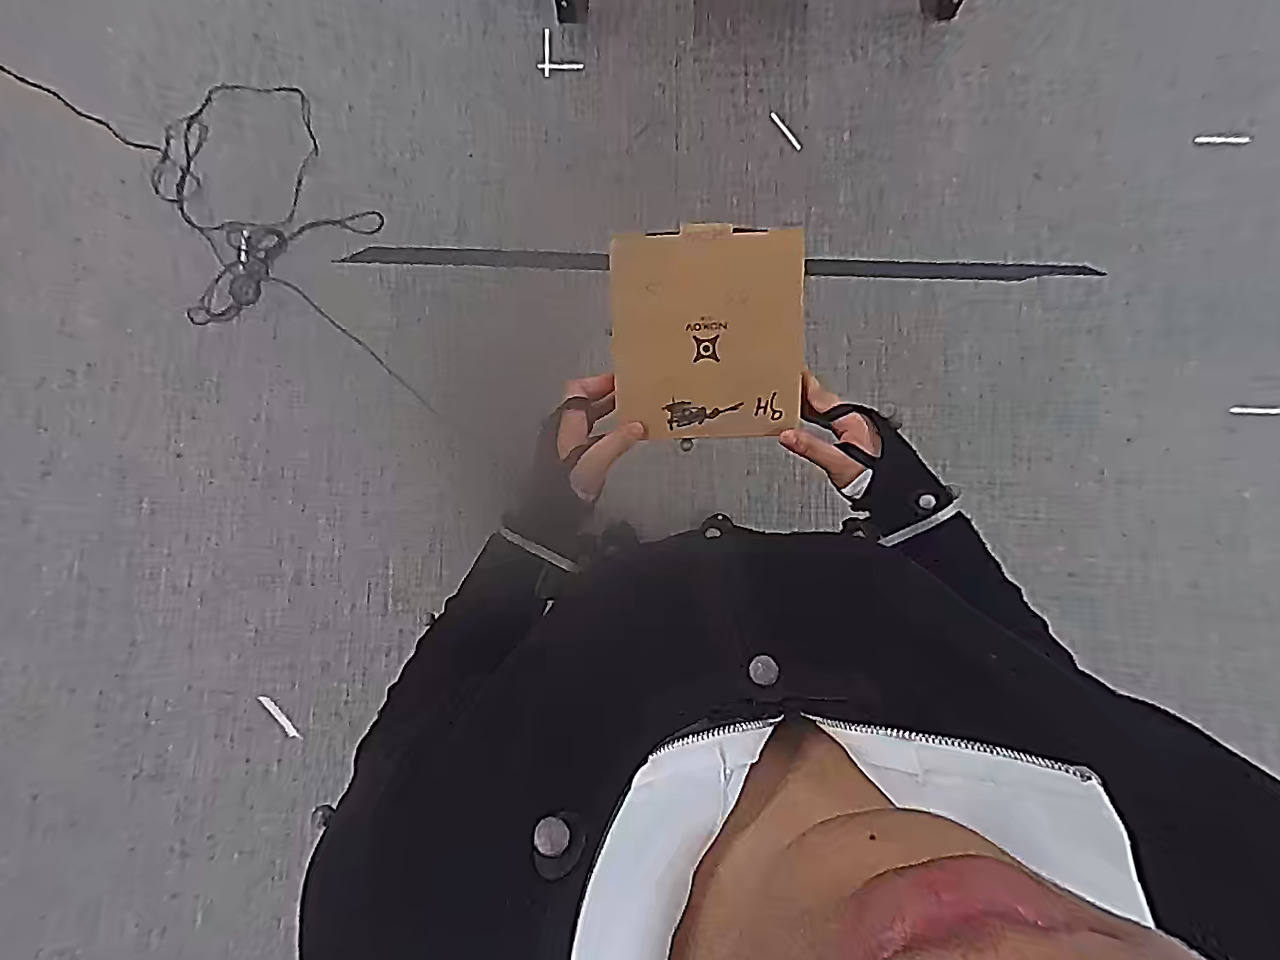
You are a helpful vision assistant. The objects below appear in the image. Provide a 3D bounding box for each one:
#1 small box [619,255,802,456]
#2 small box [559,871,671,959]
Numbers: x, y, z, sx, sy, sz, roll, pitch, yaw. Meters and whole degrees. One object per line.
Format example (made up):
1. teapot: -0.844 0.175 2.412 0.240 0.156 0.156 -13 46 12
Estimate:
1. small box: 0.063 -0.123 0.565 0.168 0.176 0.179 -2 101 1
2. small box: -0.036 0.796 0.911 0.179 0.176 0.168 -1 84 2
